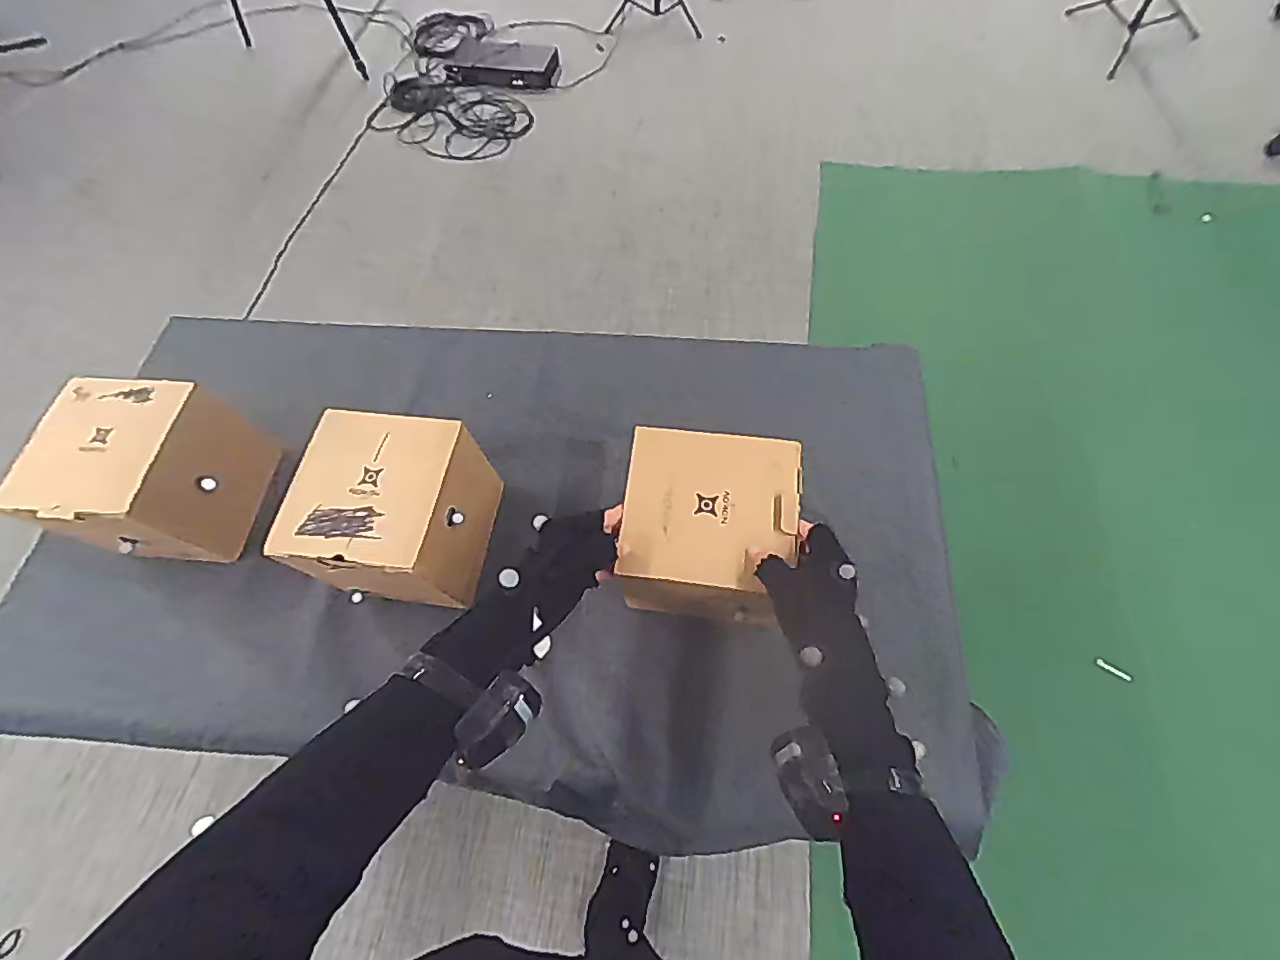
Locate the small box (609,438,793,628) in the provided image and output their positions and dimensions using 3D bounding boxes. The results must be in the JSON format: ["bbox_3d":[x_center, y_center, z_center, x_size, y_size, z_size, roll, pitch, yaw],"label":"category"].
[{"bbox_3d":[0.072,0.068,0.620,0.179,0.176,0.168,4,65,8],"label":"small box"}]

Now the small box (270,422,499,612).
[{"bbox_3d":[-0.286,0.052,0.654,0.168,0.176,0.179,5,63,7],"label":"small box"}]

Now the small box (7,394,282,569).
[{"bbox_3d":[-0.612,0.009,0.699,0.168,0.176,0.179,2,65,5],"label":"small box"}]
